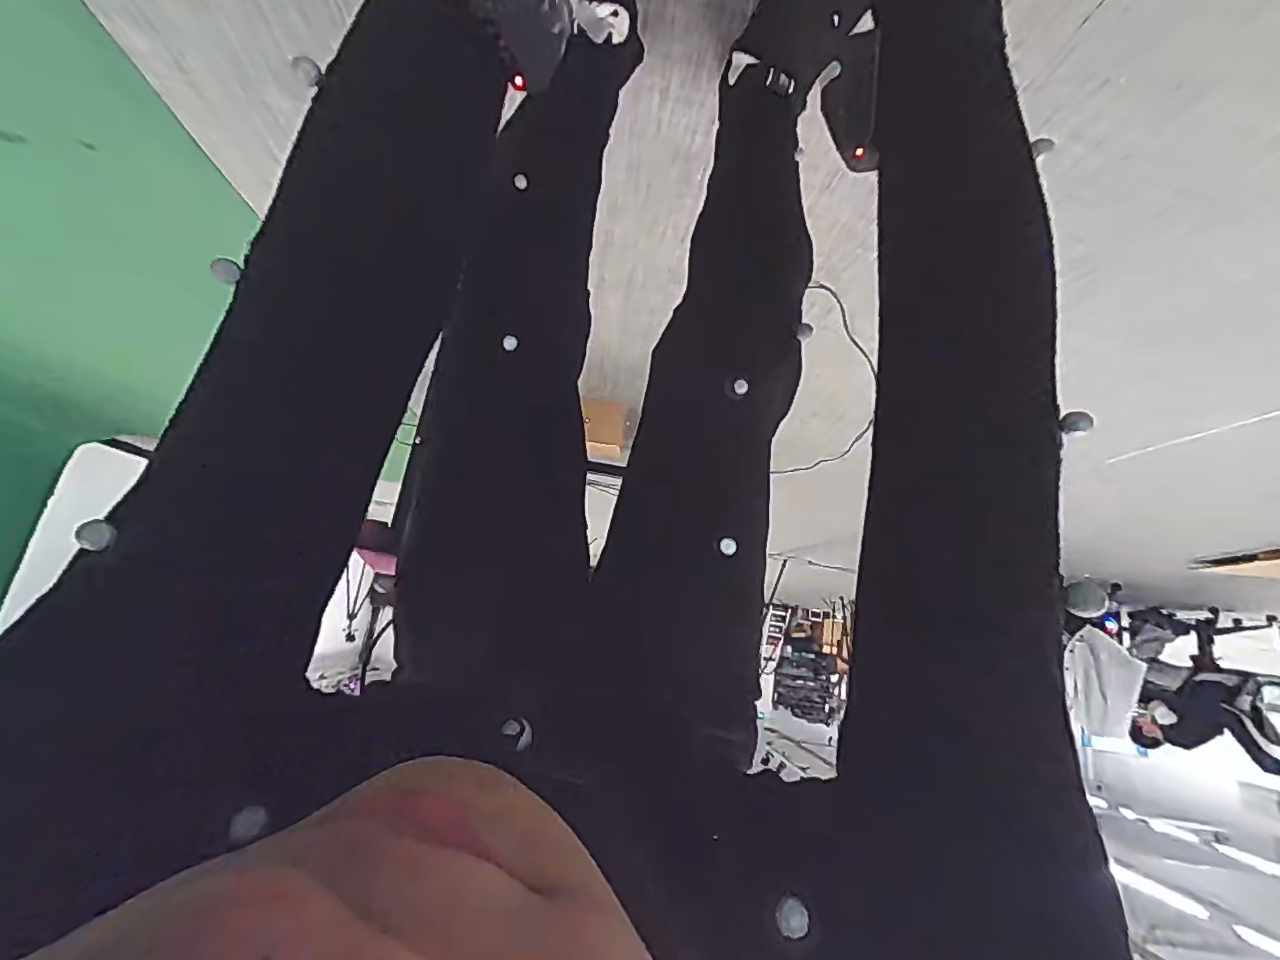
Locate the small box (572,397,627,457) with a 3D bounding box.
[{"bbox_3d":[-0.147,-0.200,2.027,0.179,0.176,0.168,8,167,2],"label":"small box"}]
